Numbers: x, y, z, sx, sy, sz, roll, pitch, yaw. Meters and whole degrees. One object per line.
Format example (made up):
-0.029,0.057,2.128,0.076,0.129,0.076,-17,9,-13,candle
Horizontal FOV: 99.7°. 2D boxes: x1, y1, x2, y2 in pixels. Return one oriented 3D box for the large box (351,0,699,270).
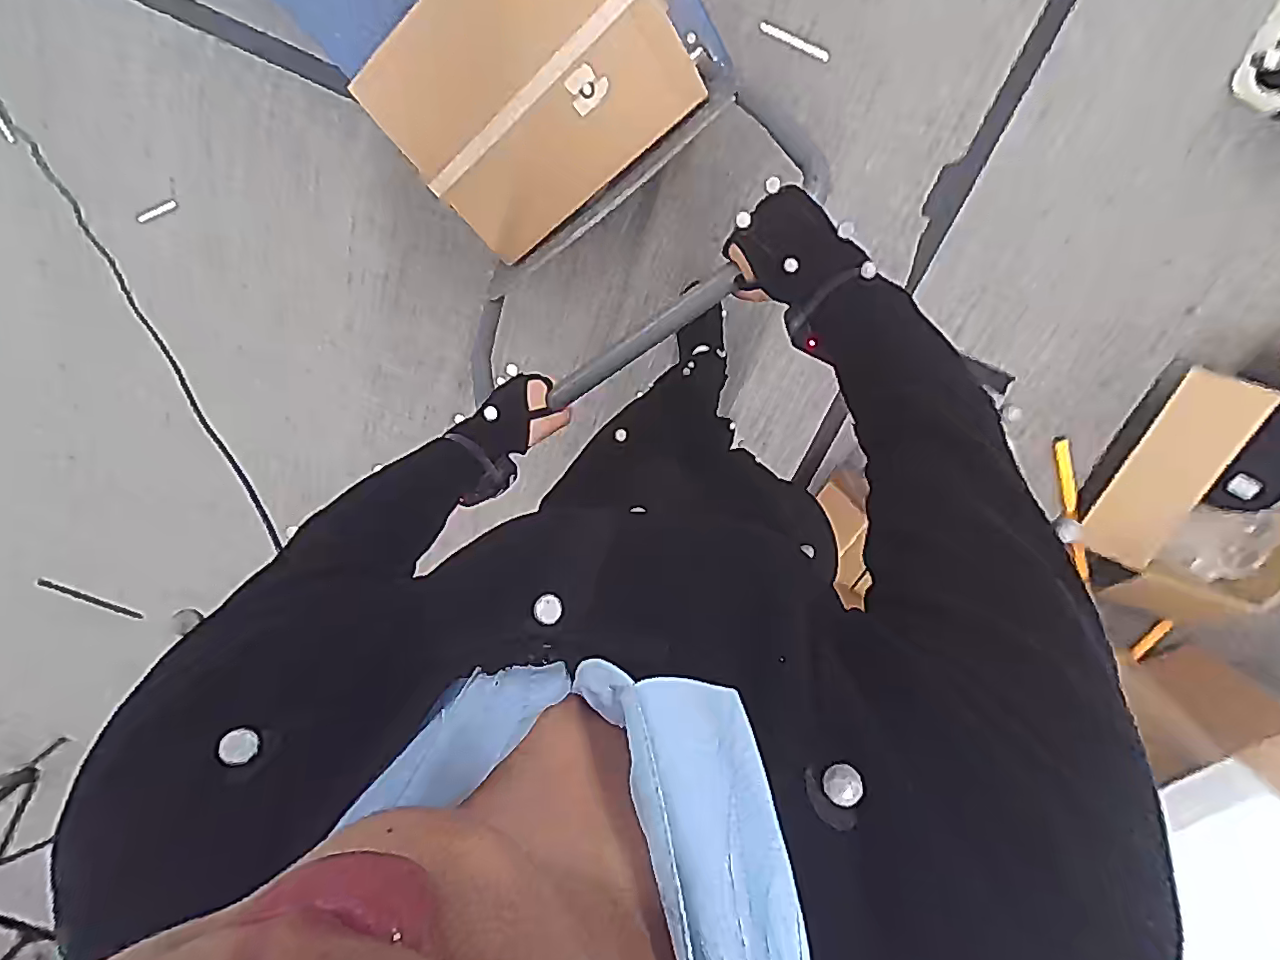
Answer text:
-0.168,-0.631,0.874,0.408,0.320,0.320,-32,125,21,large box
